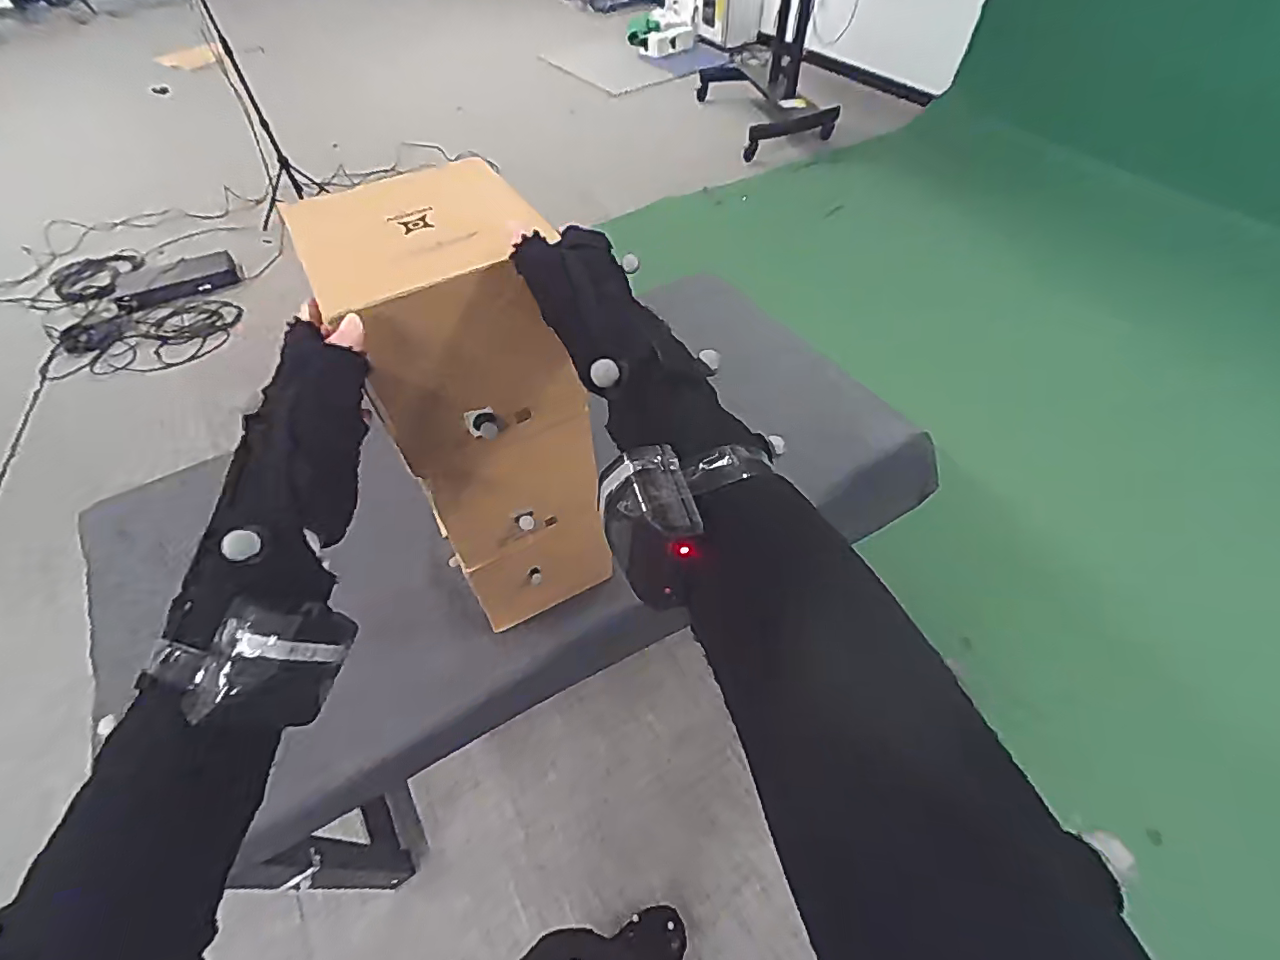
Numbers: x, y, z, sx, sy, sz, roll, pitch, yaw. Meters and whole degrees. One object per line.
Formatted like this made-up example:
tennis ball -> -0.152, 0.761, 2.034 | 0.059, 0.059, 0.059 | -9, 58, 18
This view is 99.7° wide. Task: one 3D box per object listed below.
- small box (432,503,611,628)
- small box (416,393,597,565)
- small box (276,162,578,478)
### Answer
small box -> -0.153, 0.067, 0.717 | 0.179, 0.176, 0.168 | -25, 55, -16
small box -> -0.162, -0.041, 0.594 | 0.168, 0.176, 0.179 | -27, 54, -18
small box -> -0.169, -0.135, 0.461 | 0.168, 0.176, 0.179 | -27, 56, -16
